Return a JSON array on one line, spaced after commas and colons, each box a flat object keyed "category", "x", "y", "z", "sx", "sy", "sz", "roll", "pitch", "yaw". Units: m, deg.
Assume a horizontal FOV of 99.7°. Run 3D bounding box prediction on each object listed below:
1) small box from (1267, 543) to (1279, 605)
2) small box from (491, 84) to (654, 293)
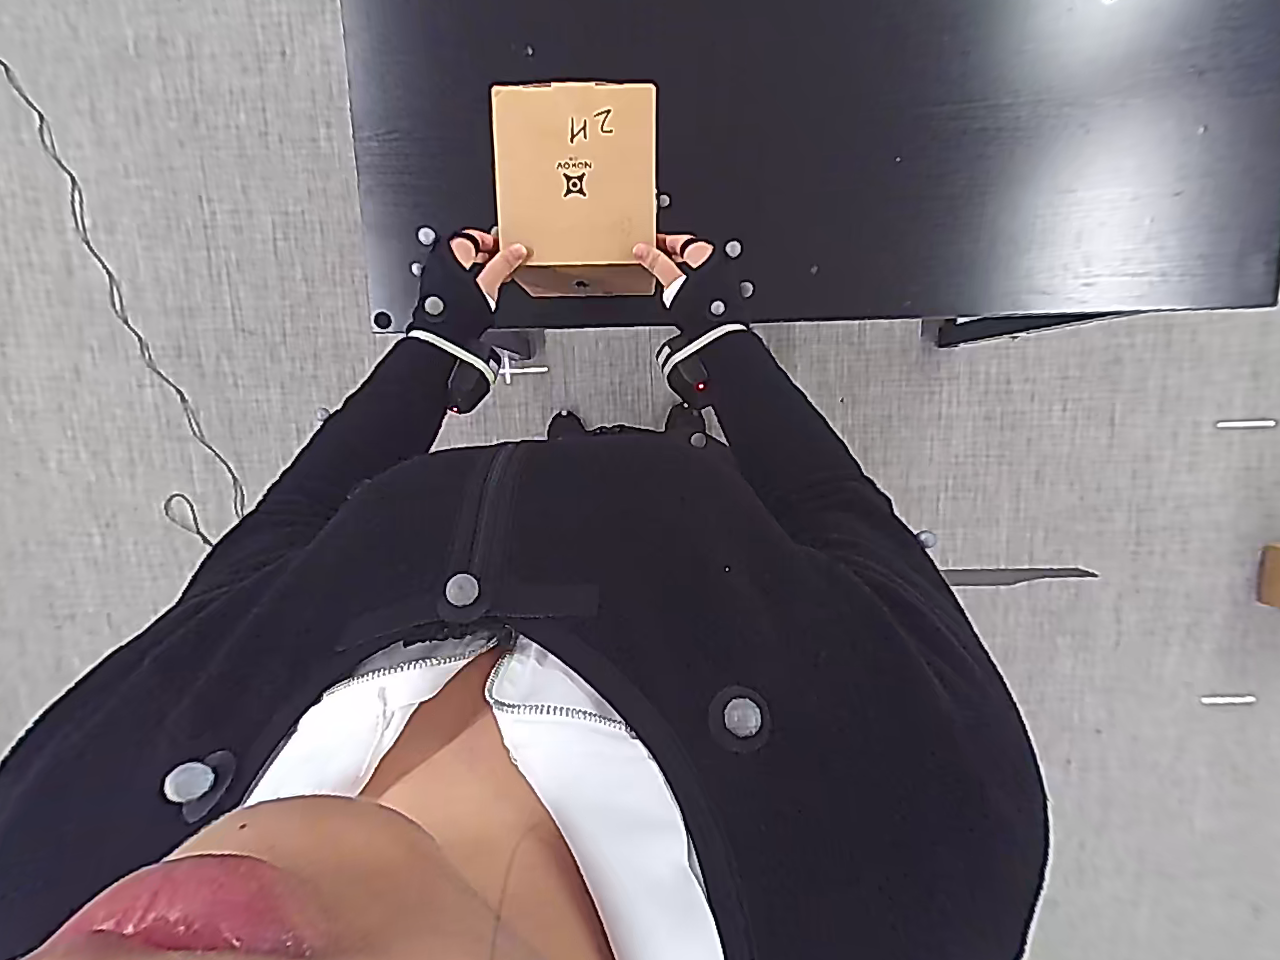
[{"category": "small box", "x": 1.821, "y": 0.268, "z": 1.416, "sx": 0.168, "sy": 0.176, "sz": 0.179, "roll": -2, "pitch": 97, "yaw": 1}, {"category": "small box", "x": -0.066, "y": -0.321, "z": 0.633, "sx": 0.168, "sy": 0.176, "sz": 0.179, "roll": -1, "pitch": 97, "yaw": 1}]
